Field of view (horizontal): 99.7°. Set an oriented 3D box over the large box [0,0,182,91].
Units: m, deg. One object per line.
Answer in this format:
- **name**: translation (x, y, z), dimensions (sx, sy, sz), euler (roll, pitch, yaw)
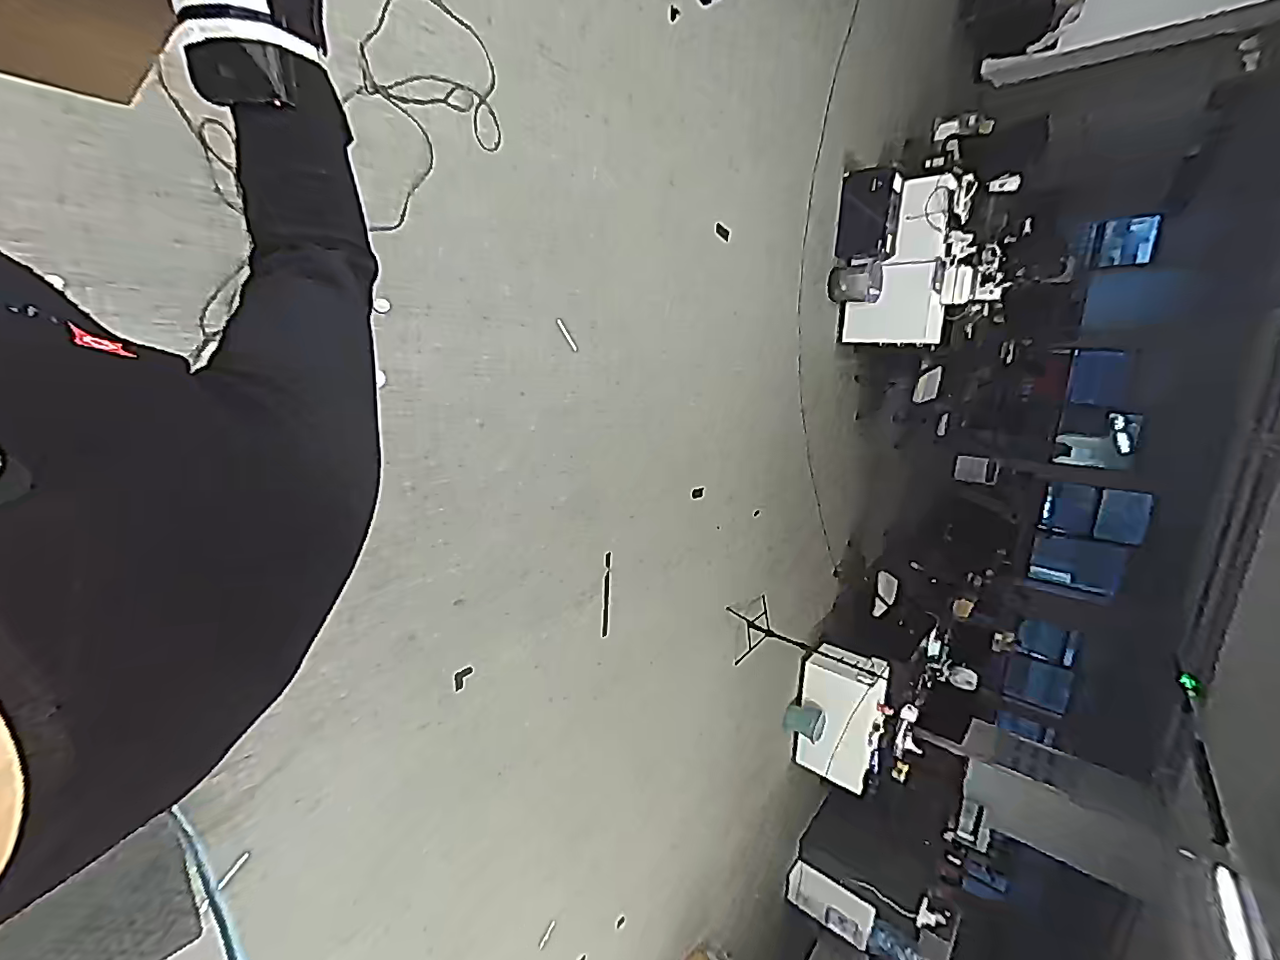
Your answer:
- **large box**: translation (-0.499, -0.455, 0.240), dimensions (0.408, 0.320, 0.320), euler (-16, 110, -49)
